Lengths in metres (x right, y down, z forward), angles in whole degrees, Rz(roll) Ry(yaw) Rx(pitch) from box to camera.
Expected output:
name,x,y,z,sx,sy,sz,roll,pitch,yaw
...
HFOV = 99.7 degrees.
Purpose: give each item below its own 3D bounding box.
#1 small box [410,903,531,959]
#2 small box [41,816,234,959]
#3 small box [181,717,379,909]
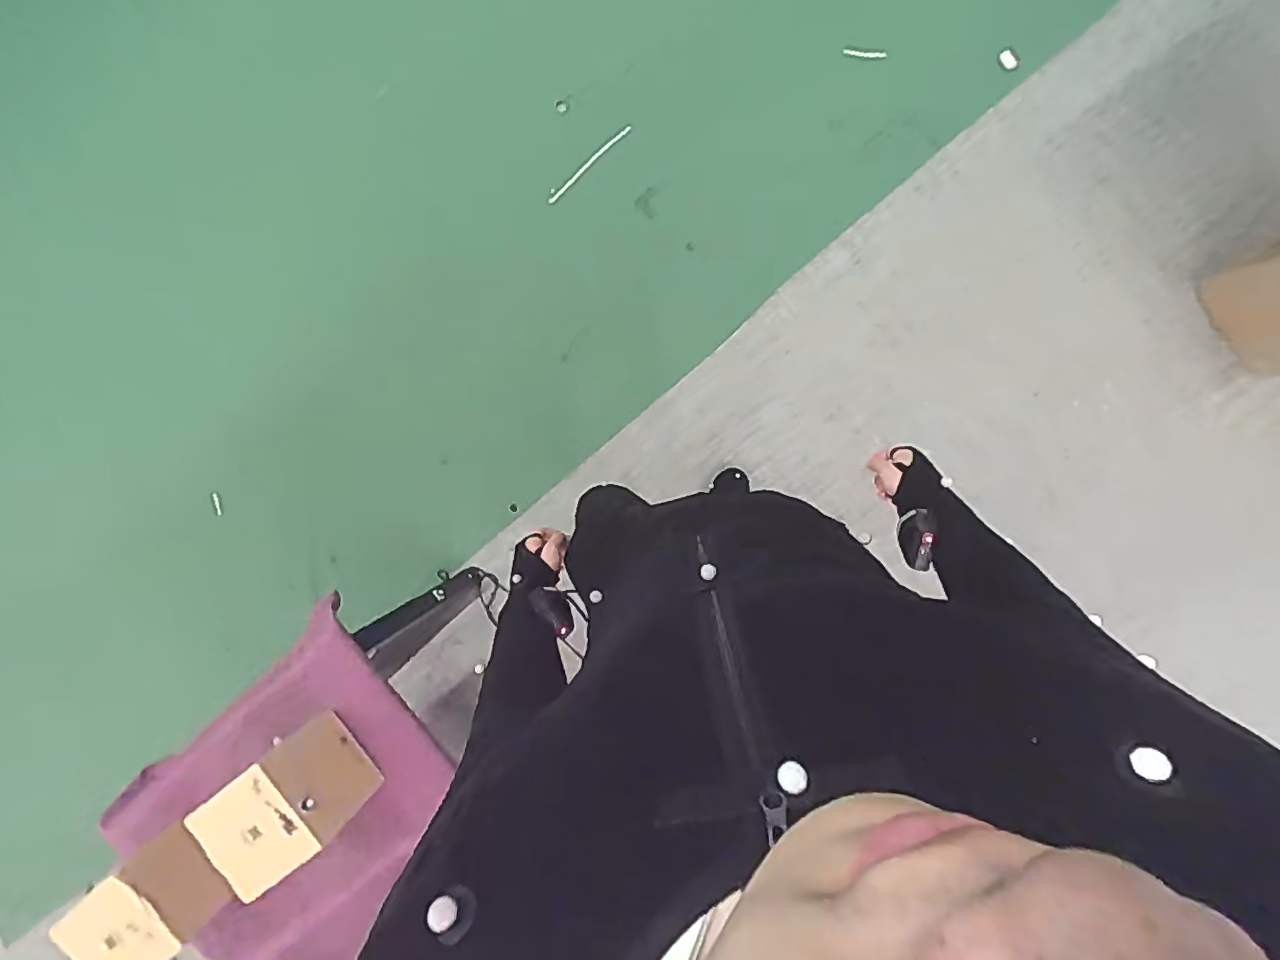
name,x,y,z,sx,sy,sz,roll,pitch,yaw
small box,-0.304,0.866,0.892,0.179,0.176,0.168,-40,90,7
small box,-0.828,0.731,0.928,0.179,0.176,0.168,-41,92,6
small box,-0.580,0.536,0.893,0.179,0.176,0.168,-38,91,9
